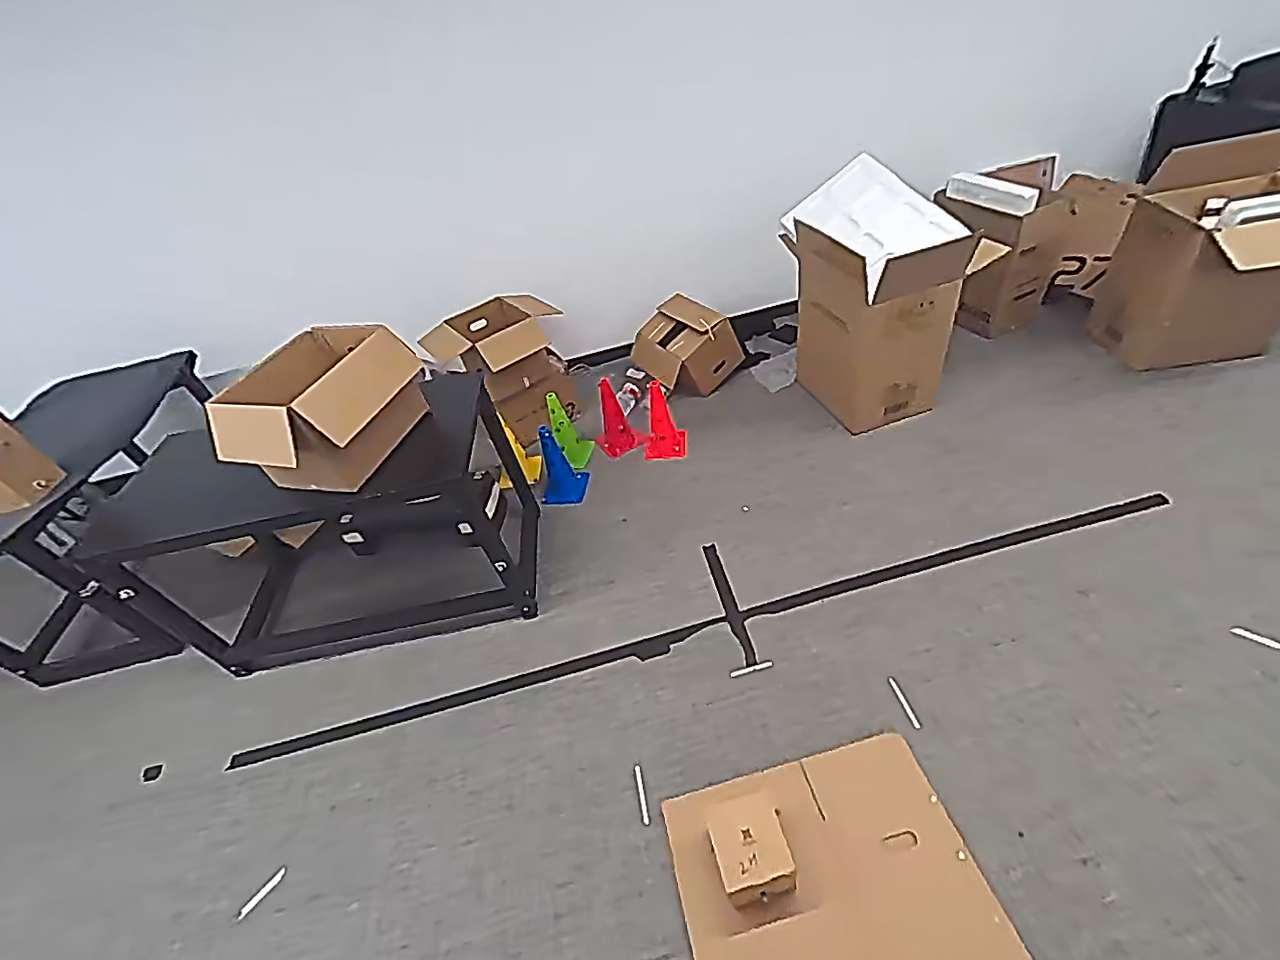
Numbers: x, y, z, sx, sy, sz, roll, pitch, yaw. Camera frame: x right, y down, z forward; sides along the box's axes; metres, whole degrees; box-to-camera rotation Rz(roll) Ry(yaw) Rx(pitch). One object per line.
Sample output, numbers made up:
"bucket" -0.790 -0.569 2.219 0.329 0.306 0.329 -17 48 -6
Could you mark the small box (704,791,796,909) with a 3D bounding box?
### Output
"small box" 0.261 0.889 1.299 0.168 0.176 0.179 -17 42 -2
